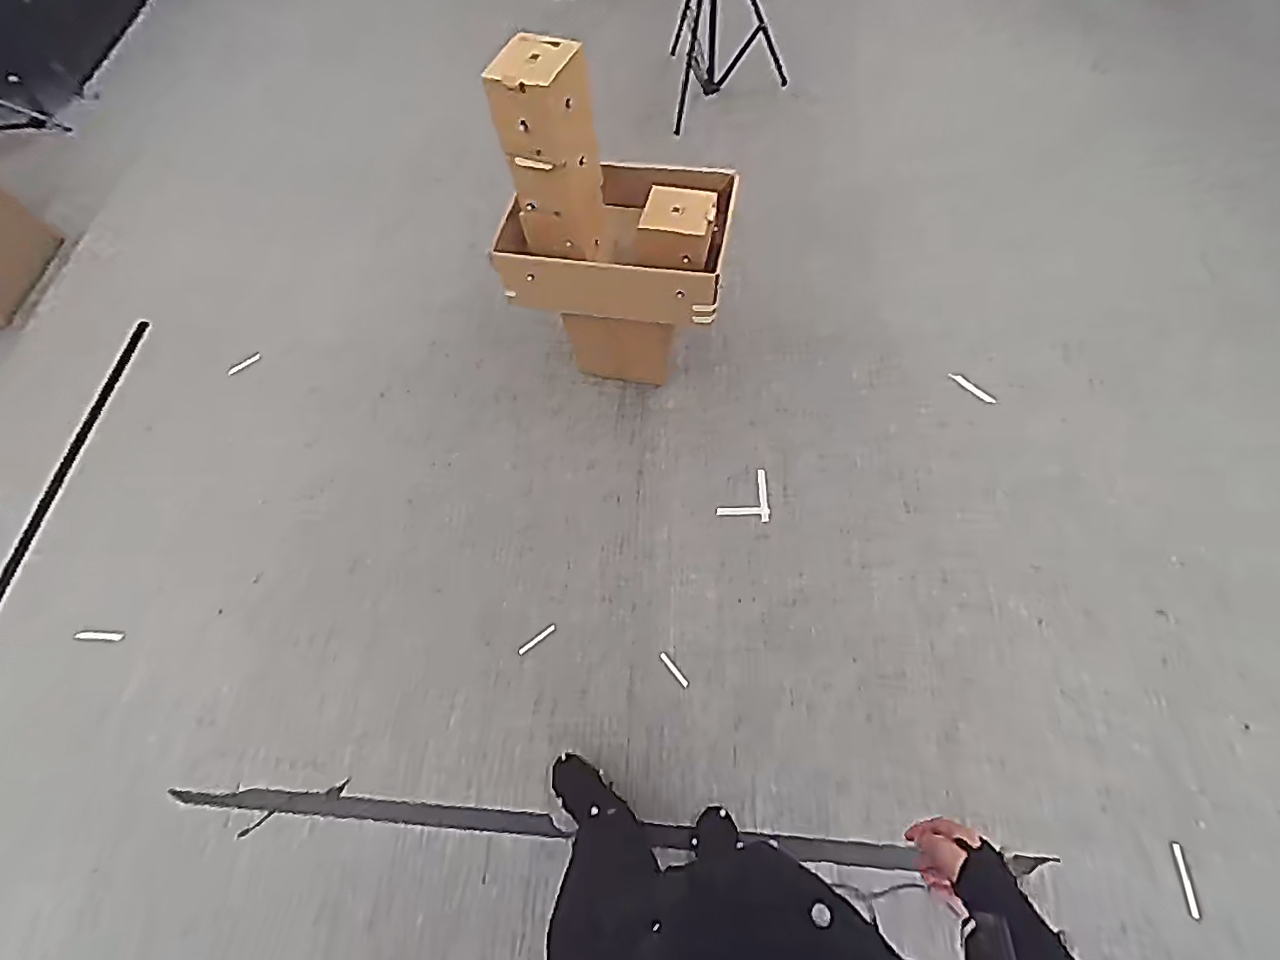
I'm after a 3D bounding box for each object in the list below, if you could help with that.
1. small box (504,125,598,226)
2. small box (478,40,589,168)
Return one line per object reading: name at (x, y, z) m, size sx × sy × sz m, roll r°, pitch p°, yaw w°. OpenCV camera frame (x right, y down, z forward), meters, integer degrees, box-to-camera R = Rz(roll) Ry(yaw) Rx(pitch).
small box at (-0.216, -0.782, 1.377) m, size 0.168 × 0.176 × 0.179 m, roll 16°, pitch 66°, yaw 12°
small box at (-0.230, -0.847, 1.226) m, size 0.168 × 0.176 × 0.179 m, roll 20°, pitch 68°, yaw 13°
